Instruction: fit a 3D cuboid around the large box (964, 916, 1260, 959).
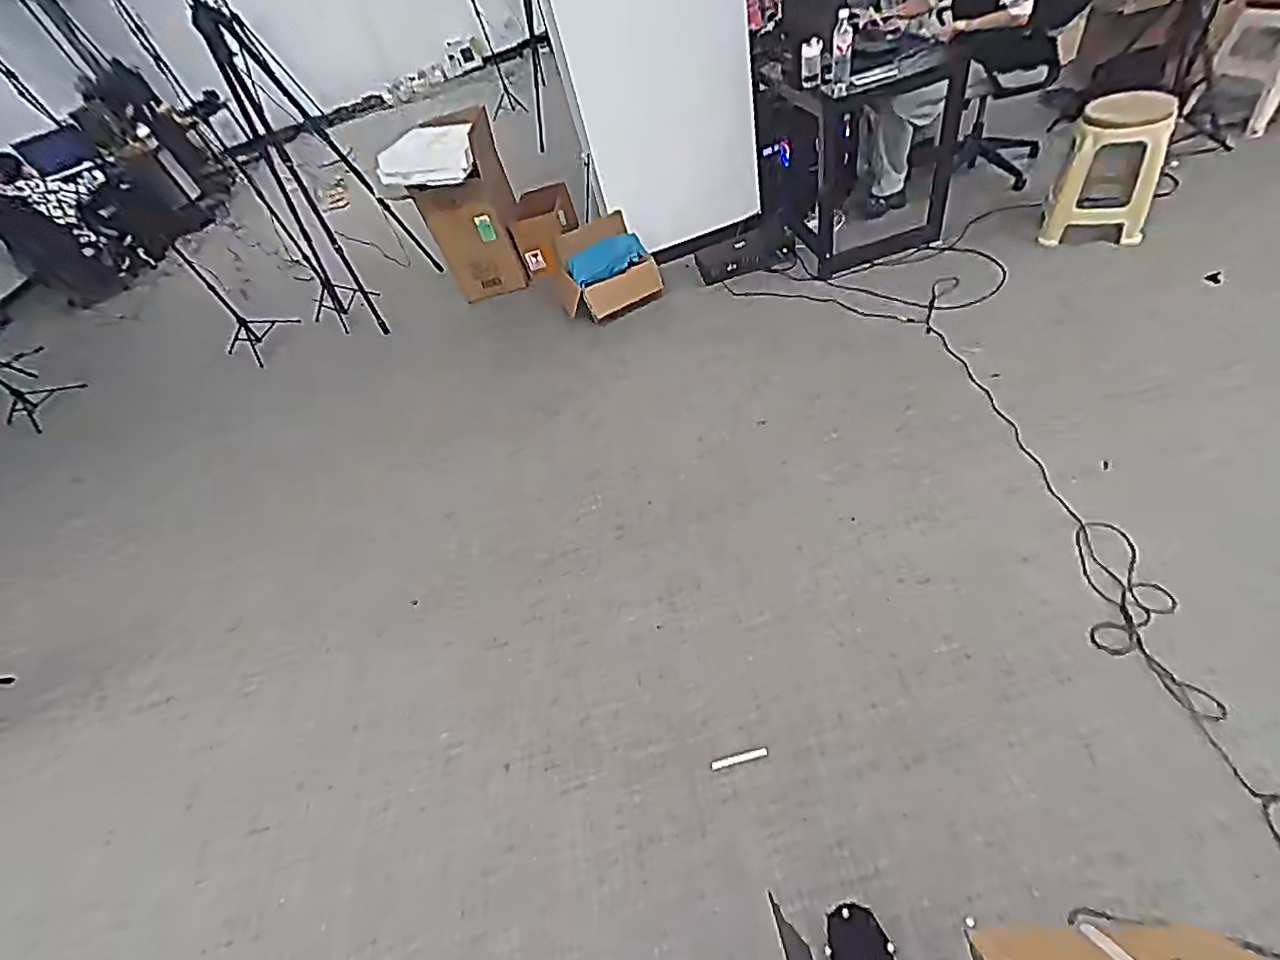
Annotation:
[{"bbox_3d":[0.606,0.723,0.541,0.320,0.408,0.320,-8,73,8],"label":"large box"}]
